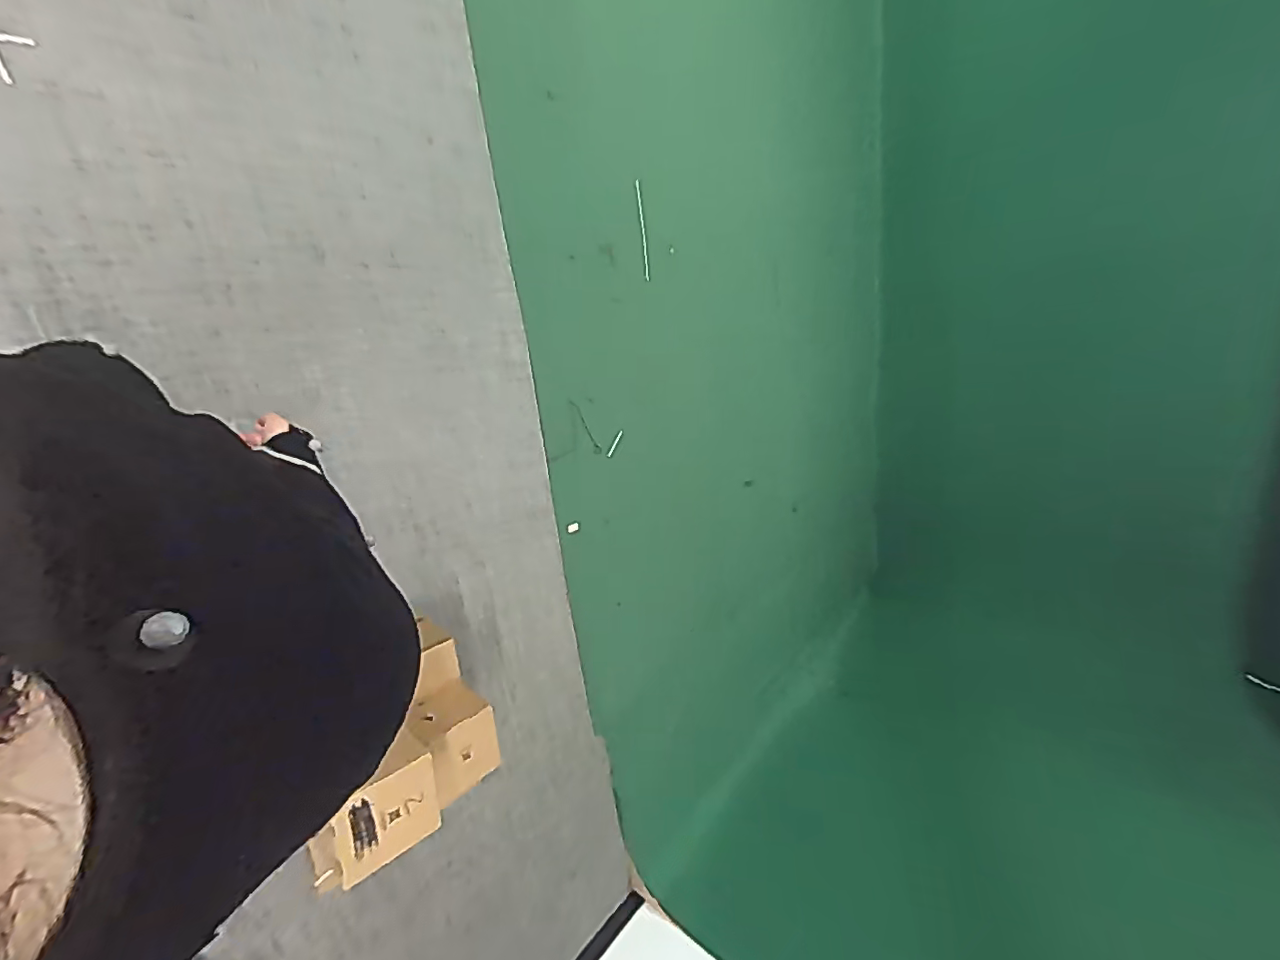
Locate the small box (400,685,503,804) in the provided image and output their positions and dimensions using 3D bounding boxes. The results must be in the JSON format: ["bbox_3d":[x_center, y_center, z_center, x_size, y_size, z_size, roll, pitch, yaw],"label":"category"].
[{"bbox_3d":[-0.453,0.618,1.297,0.168,0.176,0.179,-19,112,-44],"label":"small box"}]
